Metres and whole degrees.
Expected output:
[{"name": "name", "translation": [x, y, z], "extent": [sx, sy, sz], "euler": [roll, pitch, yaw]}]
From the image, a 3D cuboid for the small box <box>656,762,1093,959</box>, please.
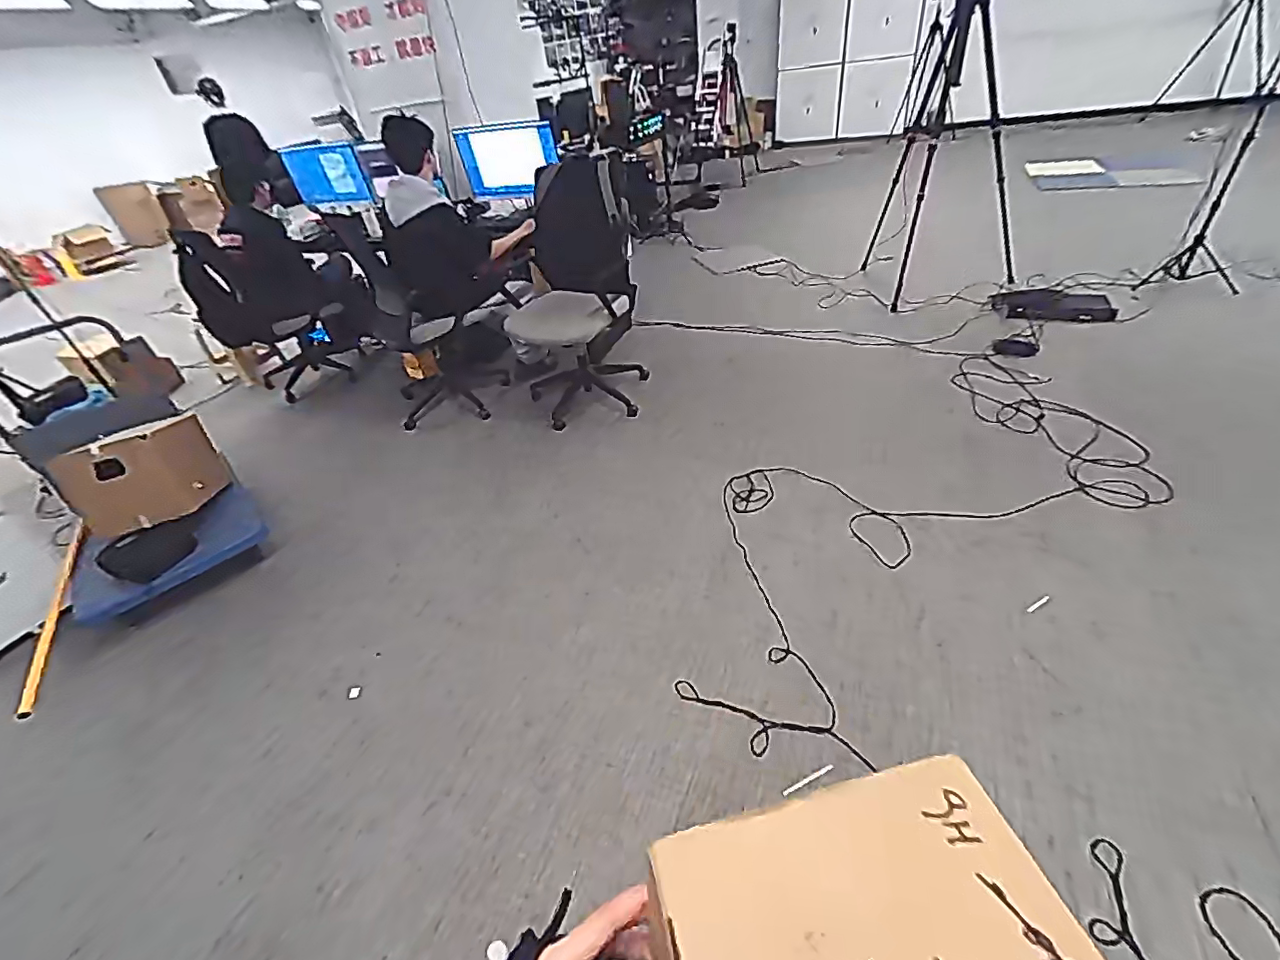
[{"name": "small box", "translation": [0.112, 0.281, 0.273], "extent": [0.179, 0.176, 0.168], "euler": [-9, 39, -10]}]
